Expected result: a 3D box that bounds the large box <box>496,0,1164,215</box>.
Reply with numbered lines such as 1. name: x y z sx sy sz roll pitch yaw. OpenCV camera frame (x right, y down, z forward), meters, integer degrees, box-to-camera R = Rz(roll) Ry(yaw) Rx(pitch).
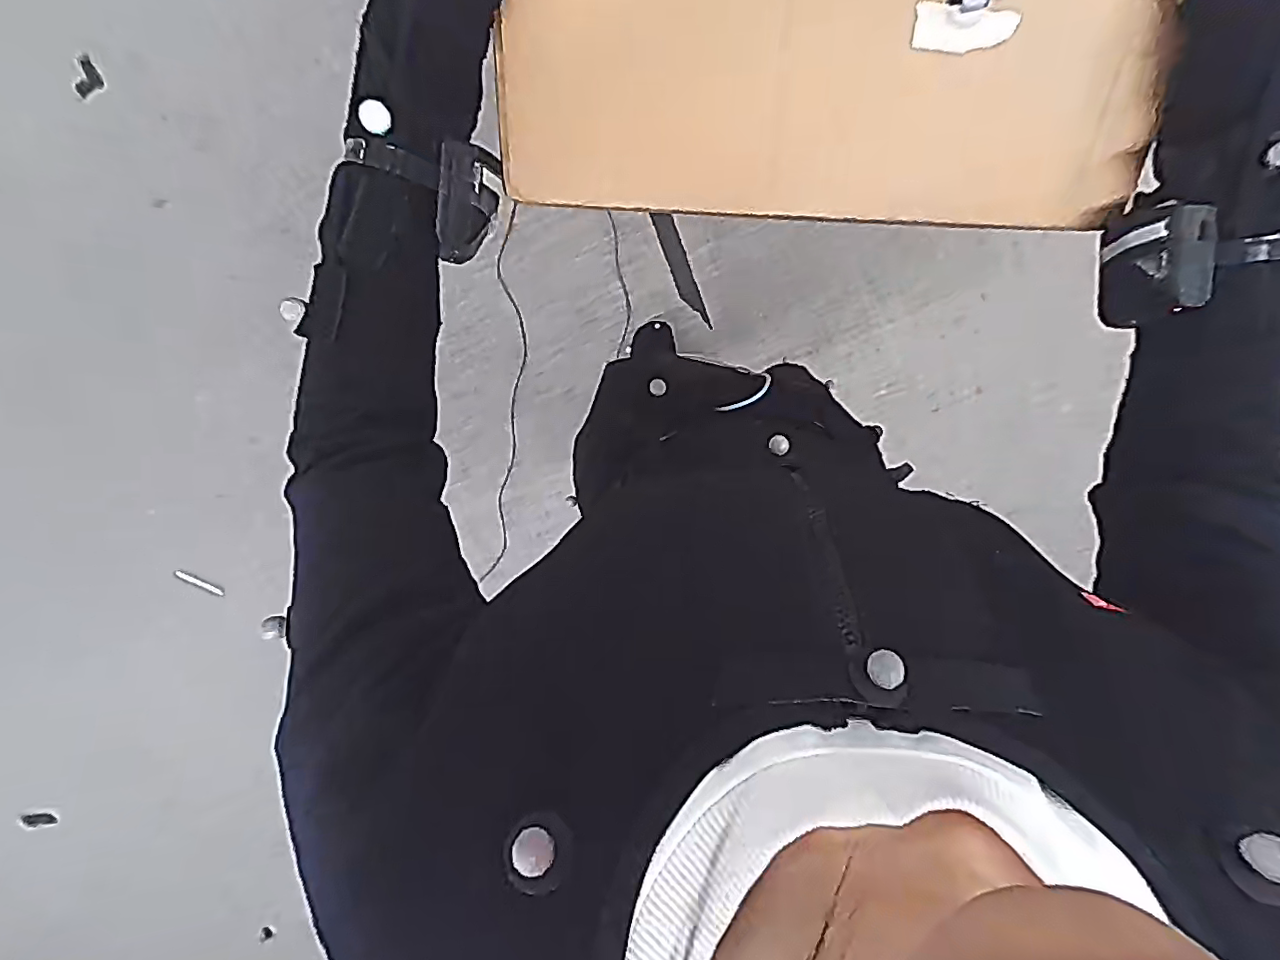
1. large box: 0.110 -0.389 0.433 0.408 0.320 0.320 1 118 -1
